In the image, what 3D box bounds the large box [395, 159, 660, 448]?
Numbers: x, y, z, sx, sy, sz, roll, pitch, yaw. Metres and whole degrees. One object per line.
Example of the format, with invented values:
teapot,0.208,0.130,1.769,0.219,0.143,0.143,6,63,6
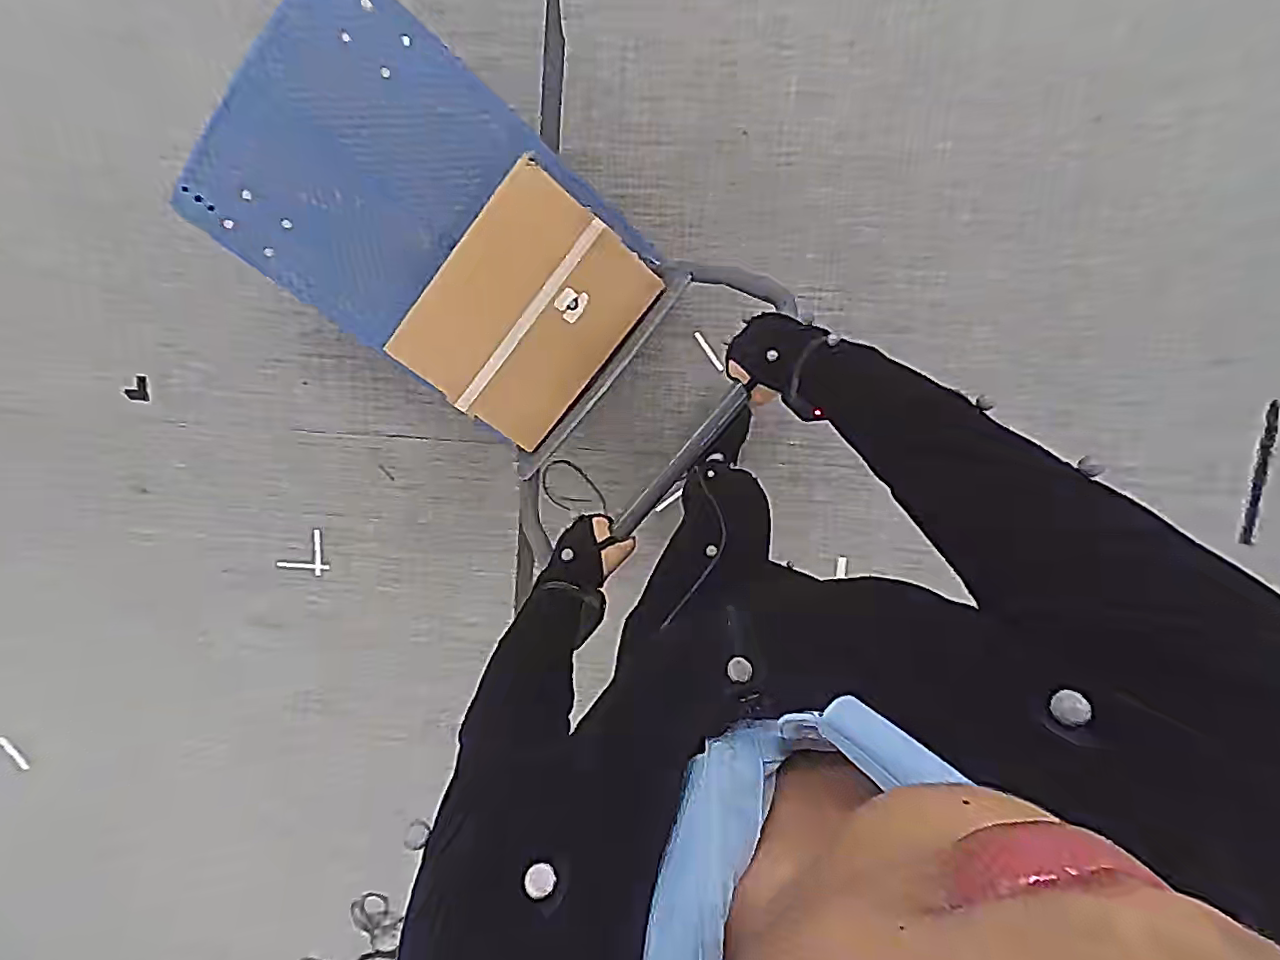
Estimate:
large box,-0.226,-0.340,1.105,0.320,0.320,0.408,35,98,-21
